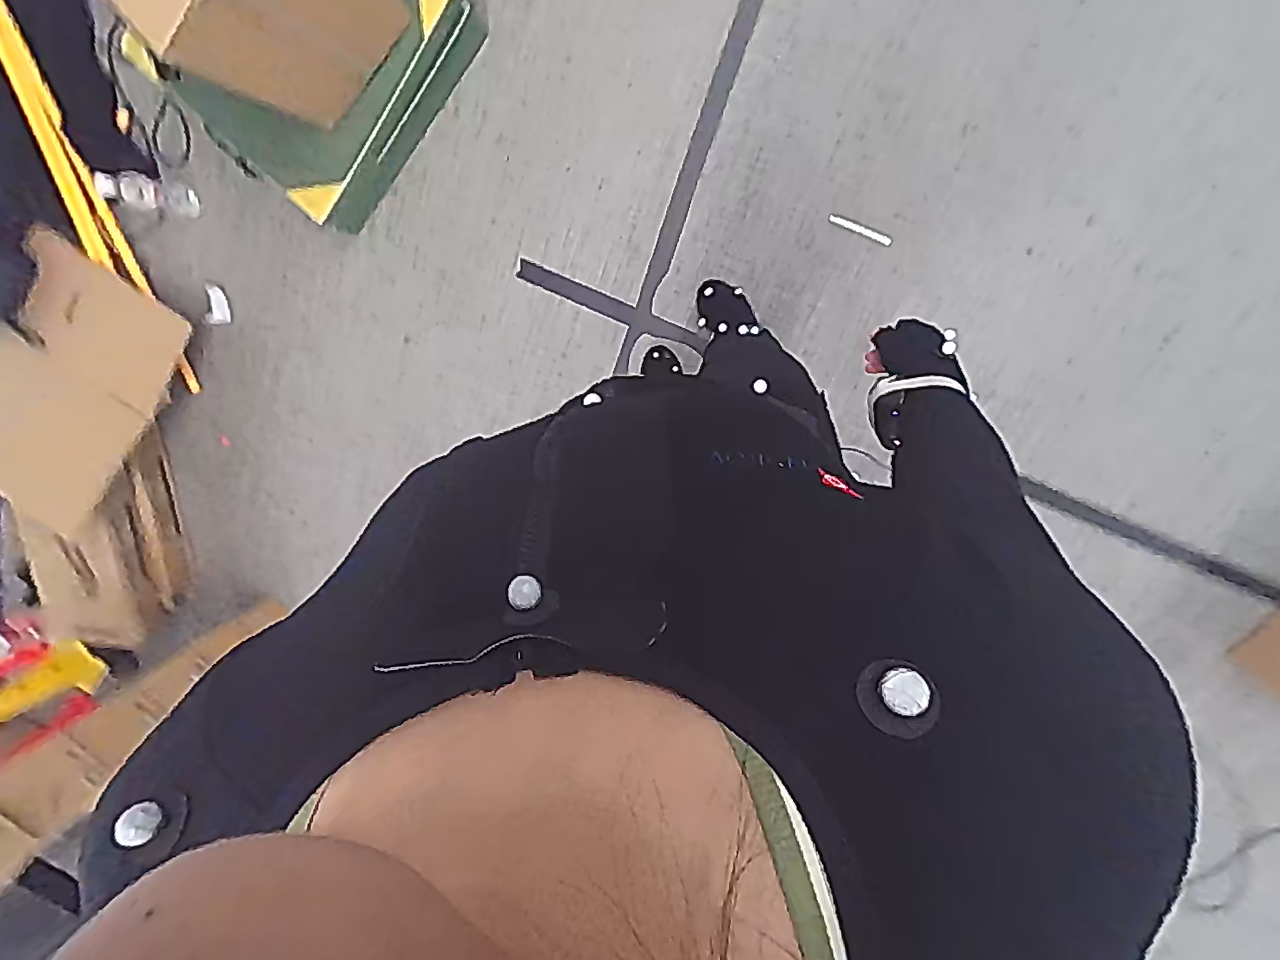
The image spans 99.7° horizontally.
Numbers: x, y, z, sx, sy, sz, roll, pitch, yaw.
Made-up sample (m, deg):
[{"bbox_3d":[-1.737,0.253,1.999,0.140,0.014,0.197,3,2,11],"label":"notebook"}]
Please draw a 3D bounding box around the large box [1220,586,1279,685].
[{"bbox_3d":[1.735,0.382,1.237,0.320,0.320,0.408,30,109,-1],"label":"large box"}]
